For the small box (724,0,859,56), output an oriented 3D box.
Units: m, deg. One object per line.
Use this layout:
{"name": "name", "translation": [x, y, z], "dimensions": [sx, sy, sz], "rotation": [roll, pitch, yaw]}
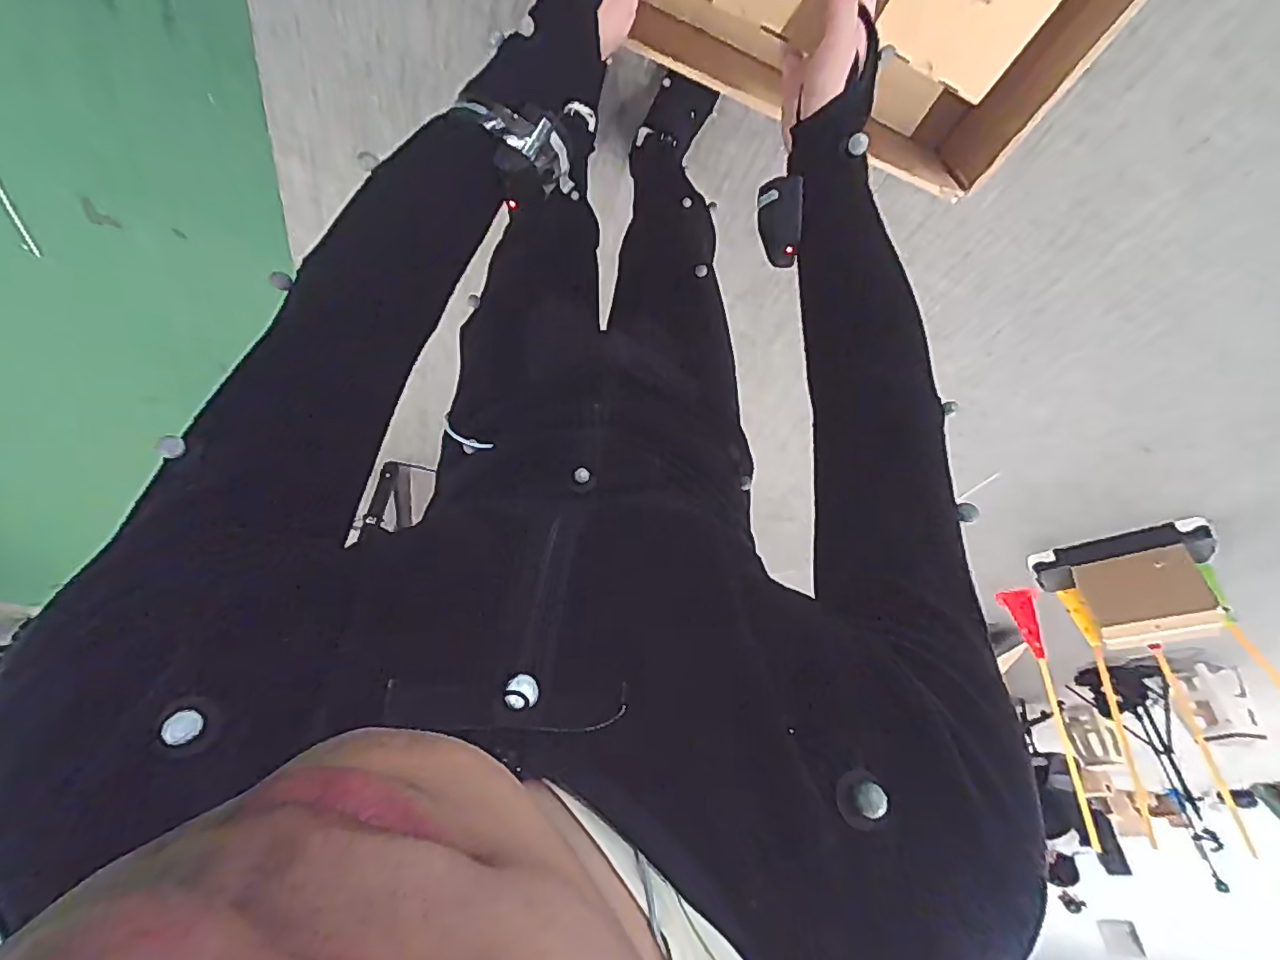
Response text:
{"name": "small box", "translation": [0.112, -0.483, 0.411], "dimensions": [0.168, 0.176, 0.179], "rotation": [13, 141, -17]}
